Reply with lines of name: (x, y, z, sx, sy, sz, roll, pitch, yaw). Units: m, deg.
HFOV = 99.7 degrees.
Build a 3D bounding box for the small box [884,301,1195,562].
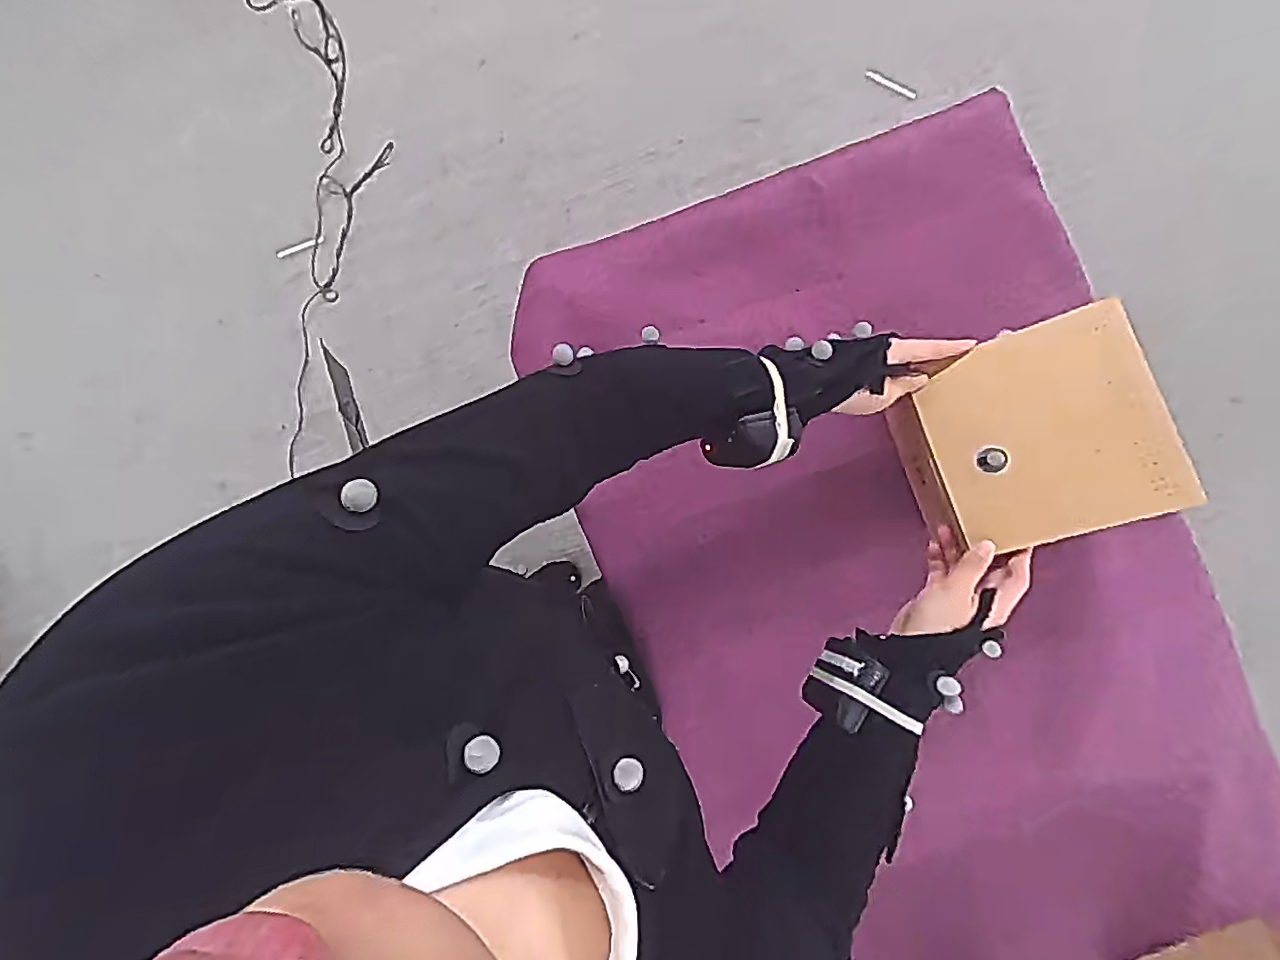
small box: (0.355, -0.037, 0.513, 0.176, 0.168, 0.179, -19, 83, 16)
